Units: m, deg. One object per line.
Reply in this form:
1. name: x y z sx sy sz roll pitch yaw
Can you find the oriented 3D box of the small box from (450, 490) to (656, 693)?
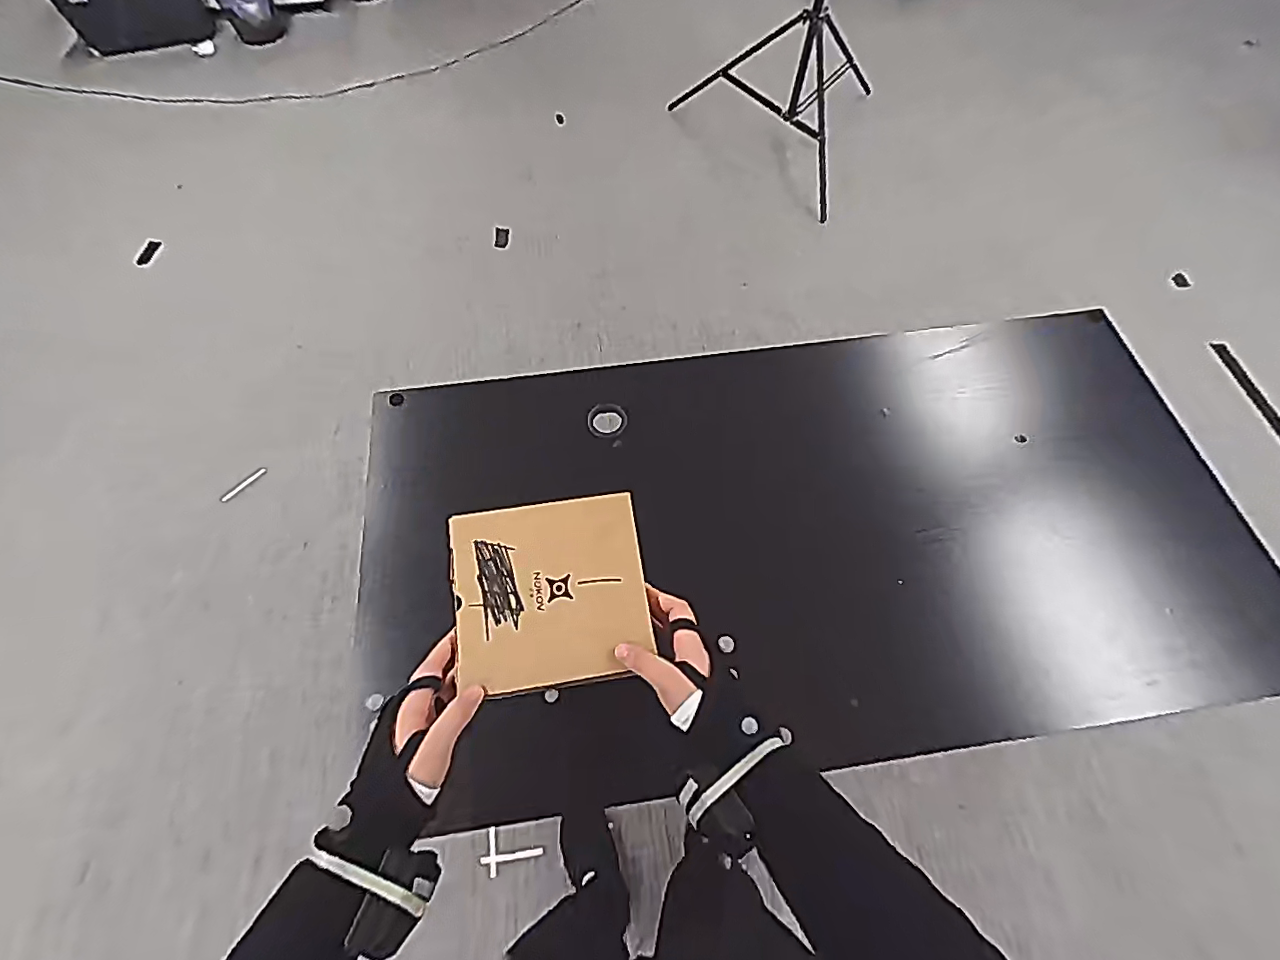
1. small box: -0.085 0.124 0.563 0.179 0.176 0.168 -8 70 -6
